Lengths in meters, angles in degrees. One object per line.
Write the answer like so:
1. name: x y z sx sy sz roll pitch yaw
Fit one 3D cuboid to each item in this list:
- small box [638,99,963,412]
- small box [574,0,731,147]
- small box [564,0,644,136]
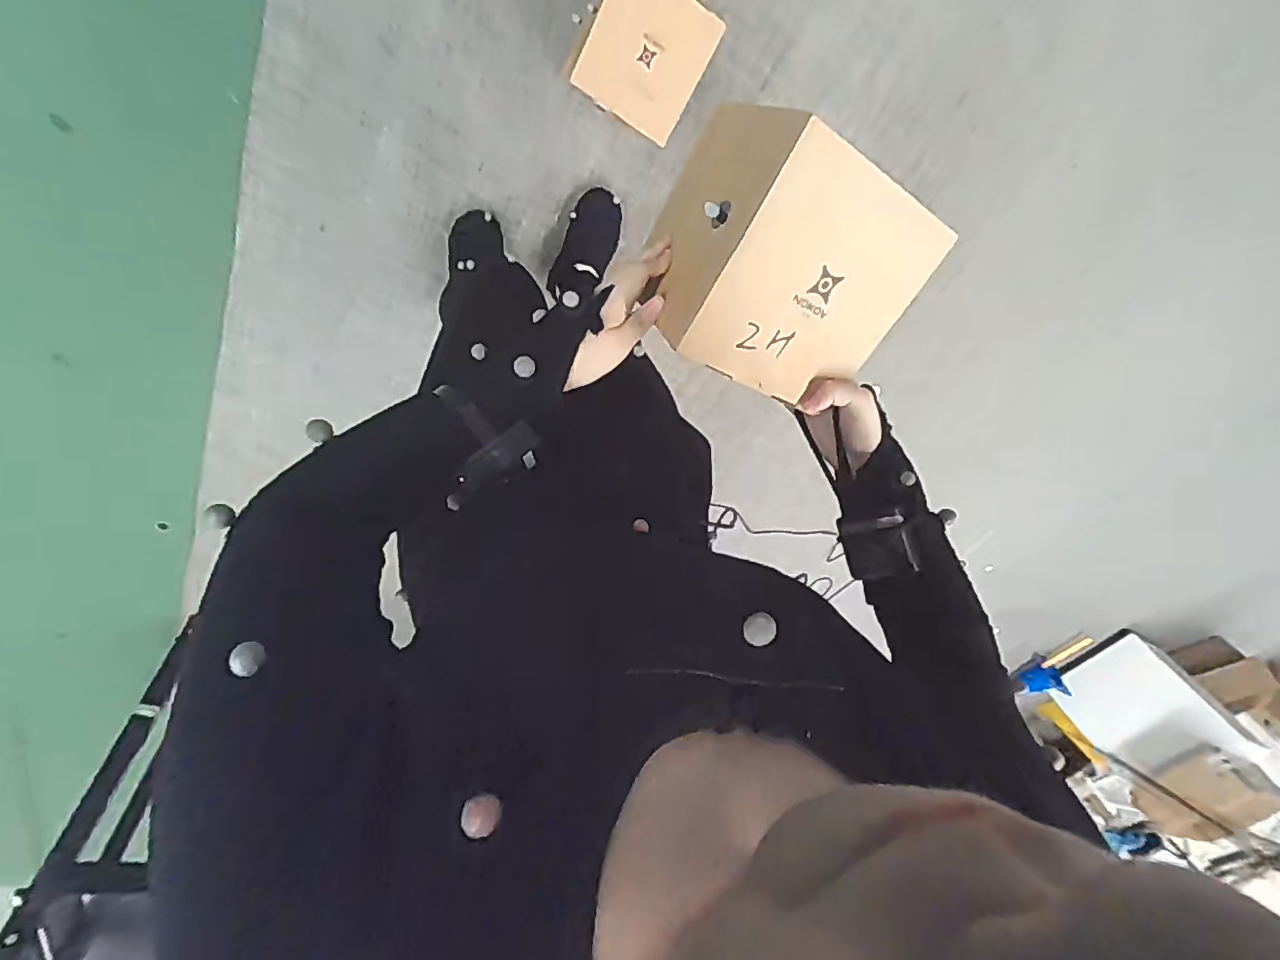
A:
1. small box: 0.117 -0.193 0.467 0.168 0.176 0.179 17 119 -27
2. small box: 0.006 -0.651 0.826 0.168 0.176 0.179 21 121 -23
3. small box: -0.022 -0.751 0.953 0.168 0.176 0.179 24 120 -26
